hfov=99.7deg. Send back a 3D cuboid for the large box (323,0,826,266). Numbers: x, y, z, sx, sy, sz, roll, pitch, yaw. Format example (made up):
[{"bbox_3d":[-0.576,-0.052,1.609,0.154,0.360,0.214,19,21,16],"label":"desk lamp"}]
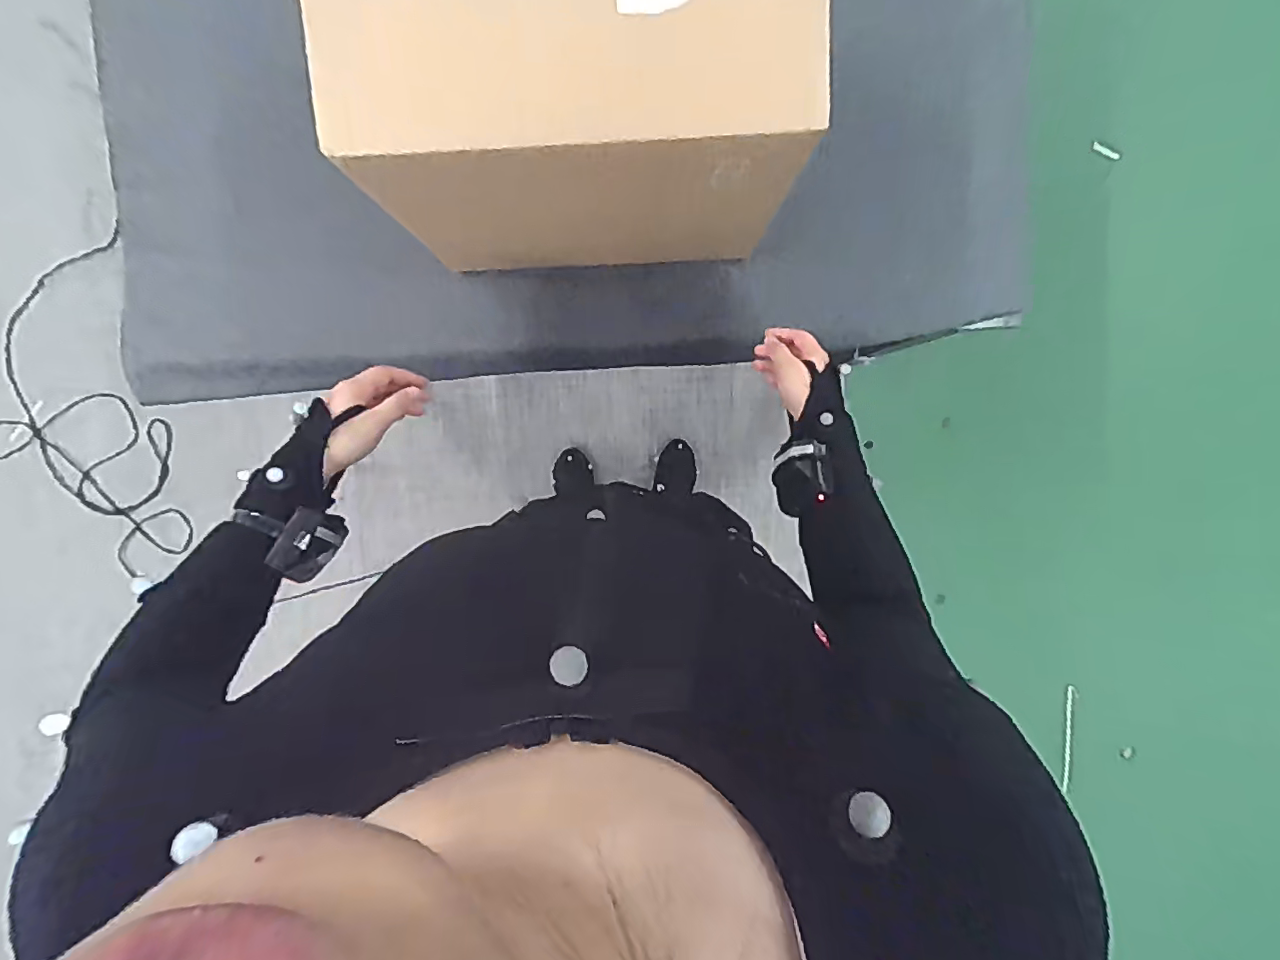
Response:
[{"bbox_3d":[-0.060,-0.441,0.575,0.408,0.320,0.320,-4,96,-1],"label":"large box"}]
